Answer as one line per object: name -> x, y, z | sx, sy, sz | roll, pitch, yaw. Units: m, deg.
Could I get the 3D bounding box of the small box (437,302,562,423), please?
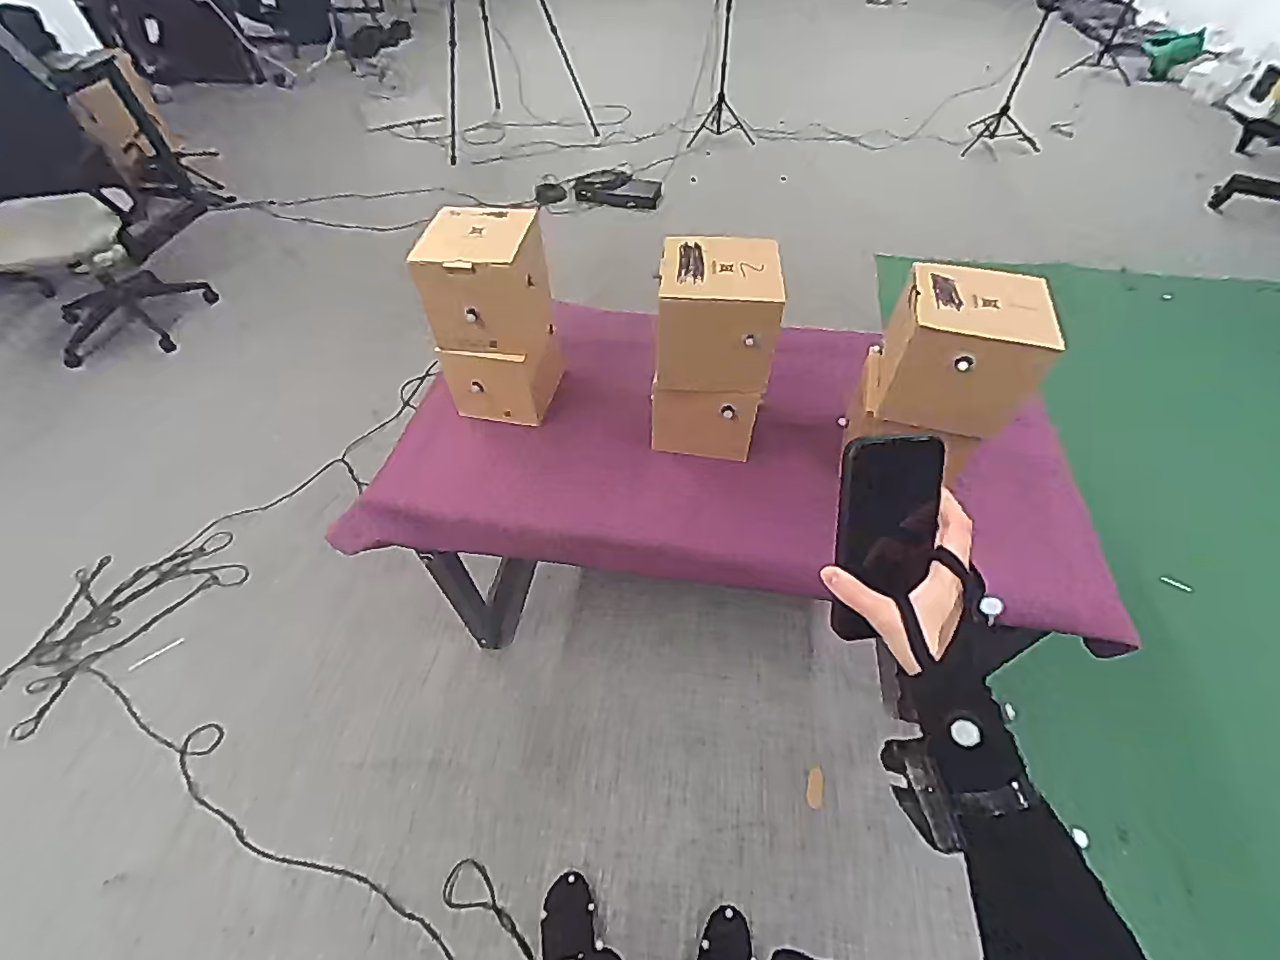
small box -> -0.257, -0.232, 1.045 | 0.168, 0.176, 0.179 | 9, 53, 8

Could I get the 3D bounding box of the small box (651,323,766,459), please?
small box -> 0.121, -0.157, 0.978 | 0.179, 0.176, 0.168 | 9, 53, 8

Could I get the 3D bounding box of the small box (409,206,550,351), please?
small box -> -0.258, -0.339, 0.921 | 0.168, 0.176, 0.179 | 6, 53, 5

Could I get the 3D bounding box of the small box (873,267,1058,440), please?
small box -> 0.454, -0.180, 0.785 | 0.179, 0.176, 0.168 | 14, 53, 11

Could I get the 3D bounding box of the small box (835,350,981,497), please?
small box -> 0.451, -0.092, 0.924 | 0.179, 0.176, 0.168 | 14, 53, 13
